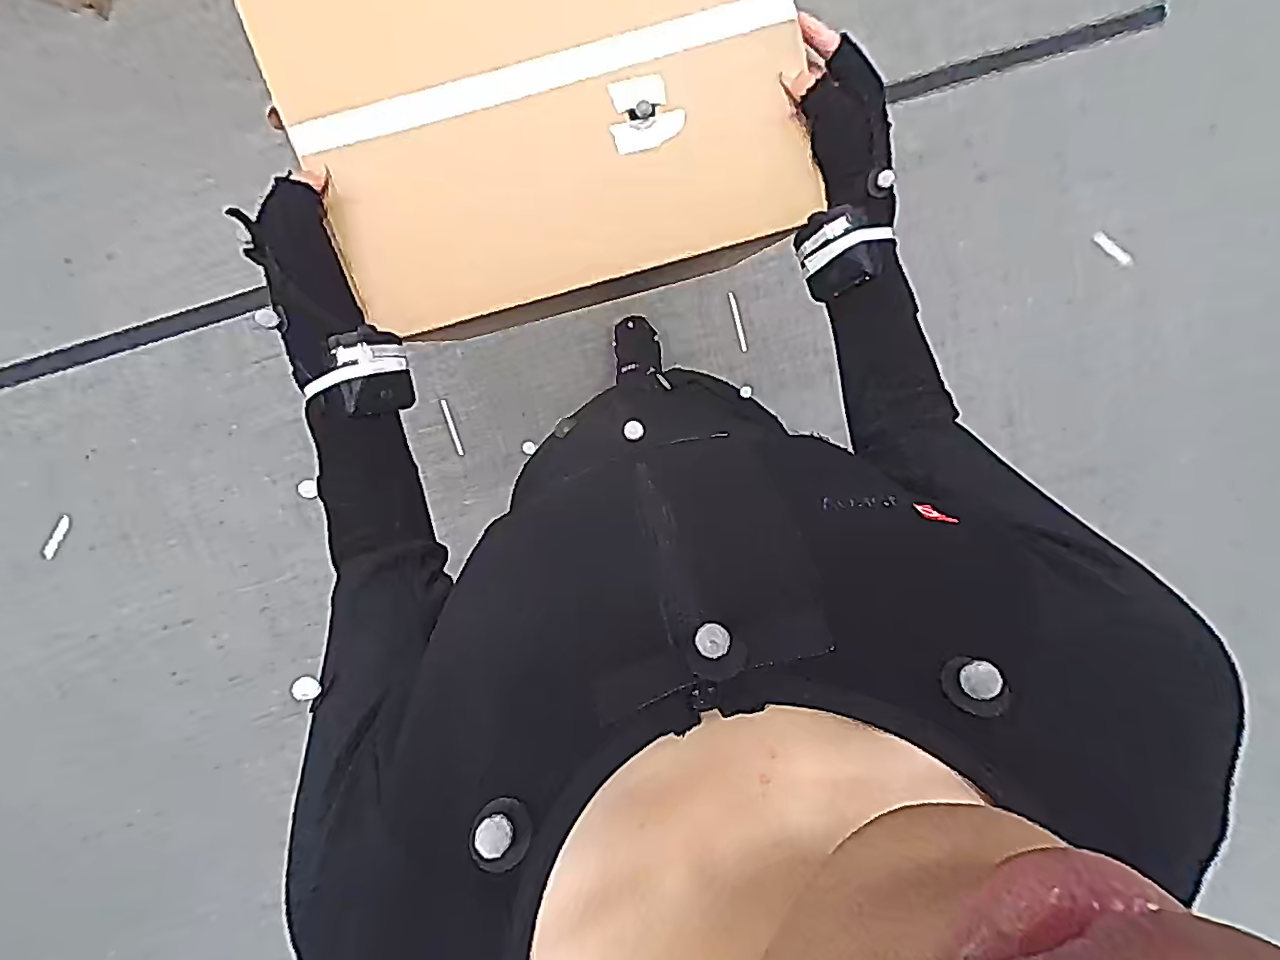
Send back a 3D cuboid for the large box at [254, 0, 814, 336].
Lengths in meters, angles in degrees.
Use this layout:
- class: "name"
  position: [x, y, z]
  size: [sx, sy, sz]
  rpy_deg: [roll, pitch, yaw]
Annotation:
- class: "large box"
  position: [-0.090, -0.363, 0.581]
  size: [0.408, 0.320, 0.320]
  rpy_deg: [-17, 106, -1]
